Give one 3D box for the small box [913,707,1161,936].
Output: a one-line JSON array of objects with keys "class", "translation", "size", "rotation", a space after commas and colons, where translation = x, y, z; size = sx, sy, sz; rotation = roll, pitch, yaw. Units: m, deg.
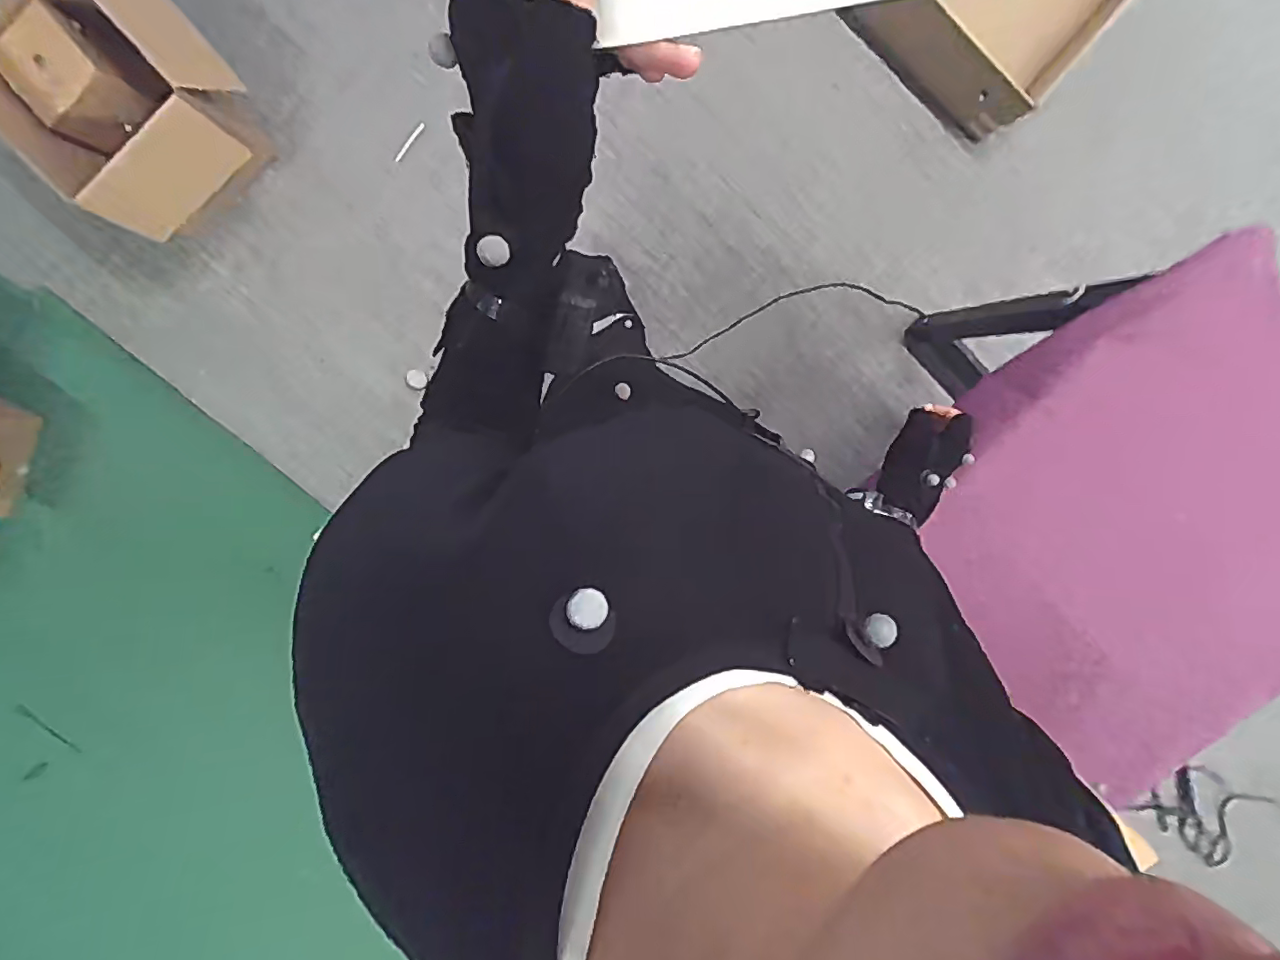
[{"class": "small box", "translation": [0.518, 0.444, 0.736], "size": [0.179, 0.176, 0.168], "rotation": [42, 98, -9]}]
